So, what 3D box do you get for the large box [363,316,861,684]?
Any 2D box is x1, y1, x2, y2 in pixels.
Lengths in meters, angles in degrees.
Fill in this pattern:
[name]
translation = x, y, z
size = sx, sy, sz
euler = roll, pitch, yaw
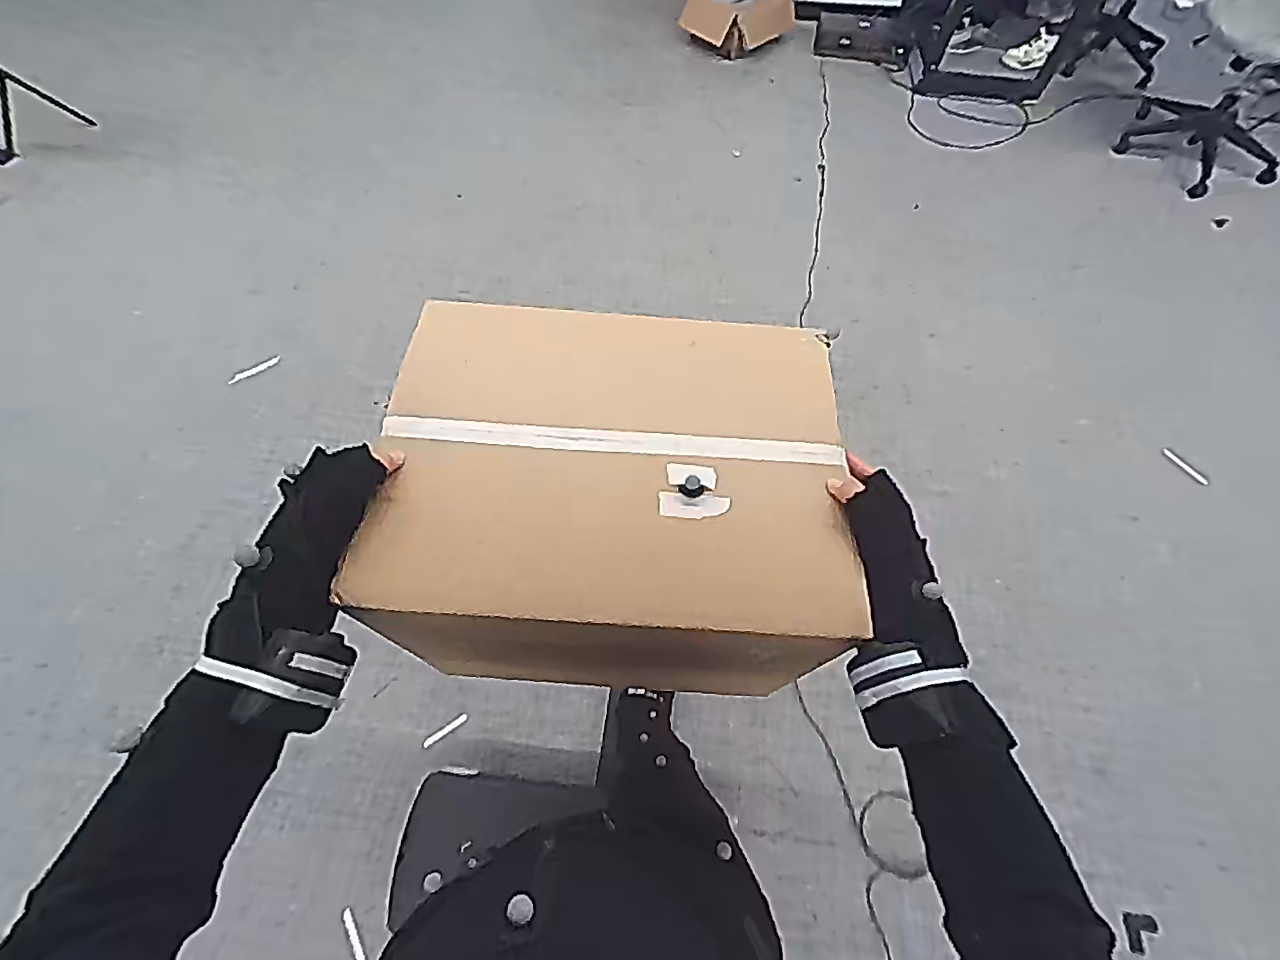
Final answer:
[large box]
translation = -0.023, 0.043, 0.626
size = 0.408, 0.320, 0.320
euler = 4, 61, -1
